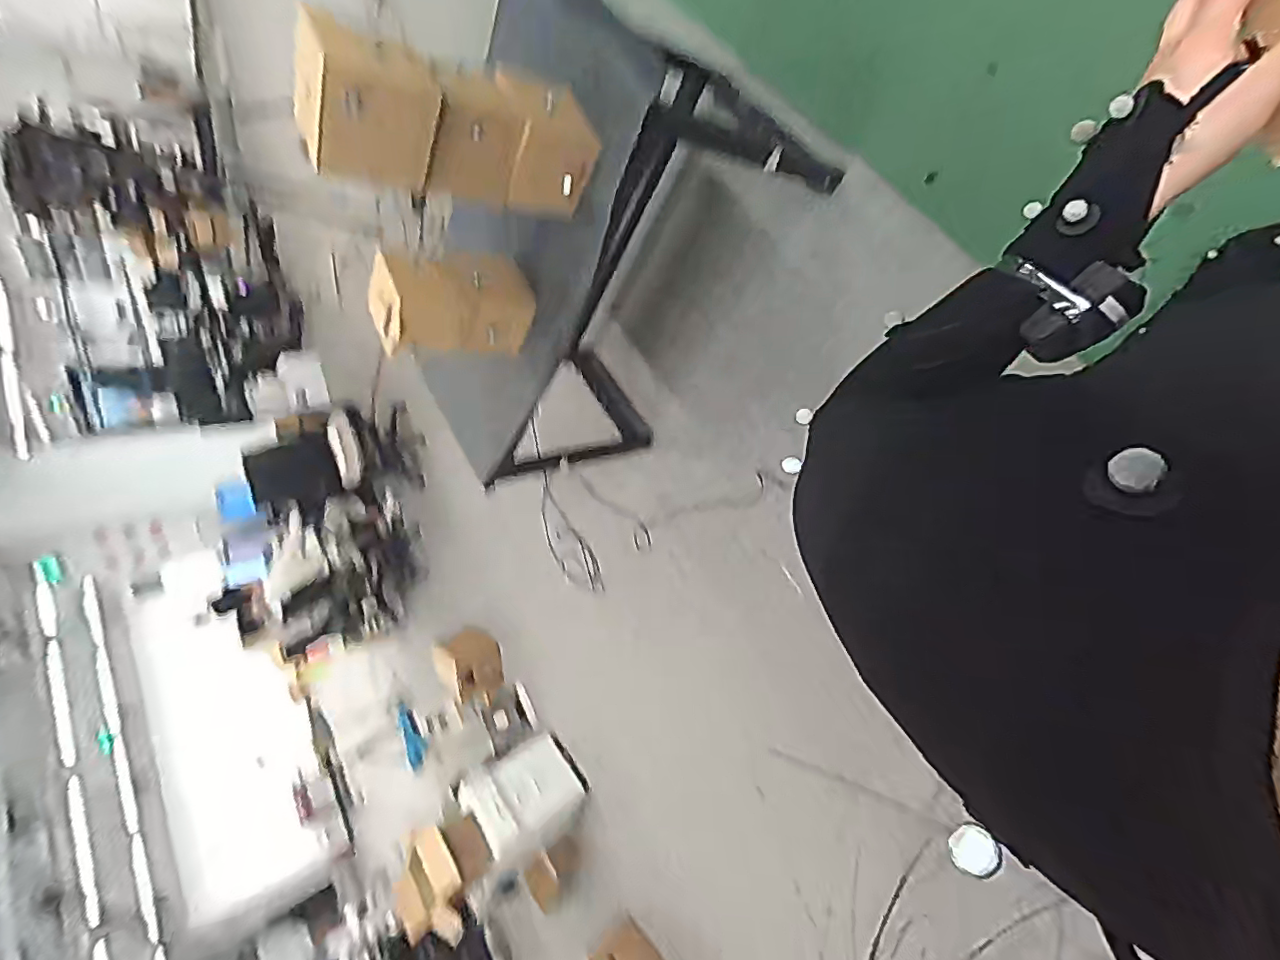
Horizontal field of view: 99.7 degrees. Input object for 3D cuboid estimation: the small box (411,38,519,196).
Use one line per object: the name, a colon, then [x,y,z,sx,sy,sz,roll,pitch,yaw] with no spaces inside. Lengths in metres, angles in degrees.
small box: [-0.339,-0.657,0.990,0.168,0.176,0.179,58,138,24]

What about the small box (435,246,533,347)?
small box: [-0.392,-0.456,1.363,0.168,0.176,0.179,59,138,19]

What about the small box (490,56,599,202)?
small box: [-0.212,-0.690,1.086,0.168,0.176,0.179,-46,65,46]

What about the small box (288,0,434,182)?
small box: [-0.448,-0.620,0.869,0.179,0.176,0.168,-49,61,44]
